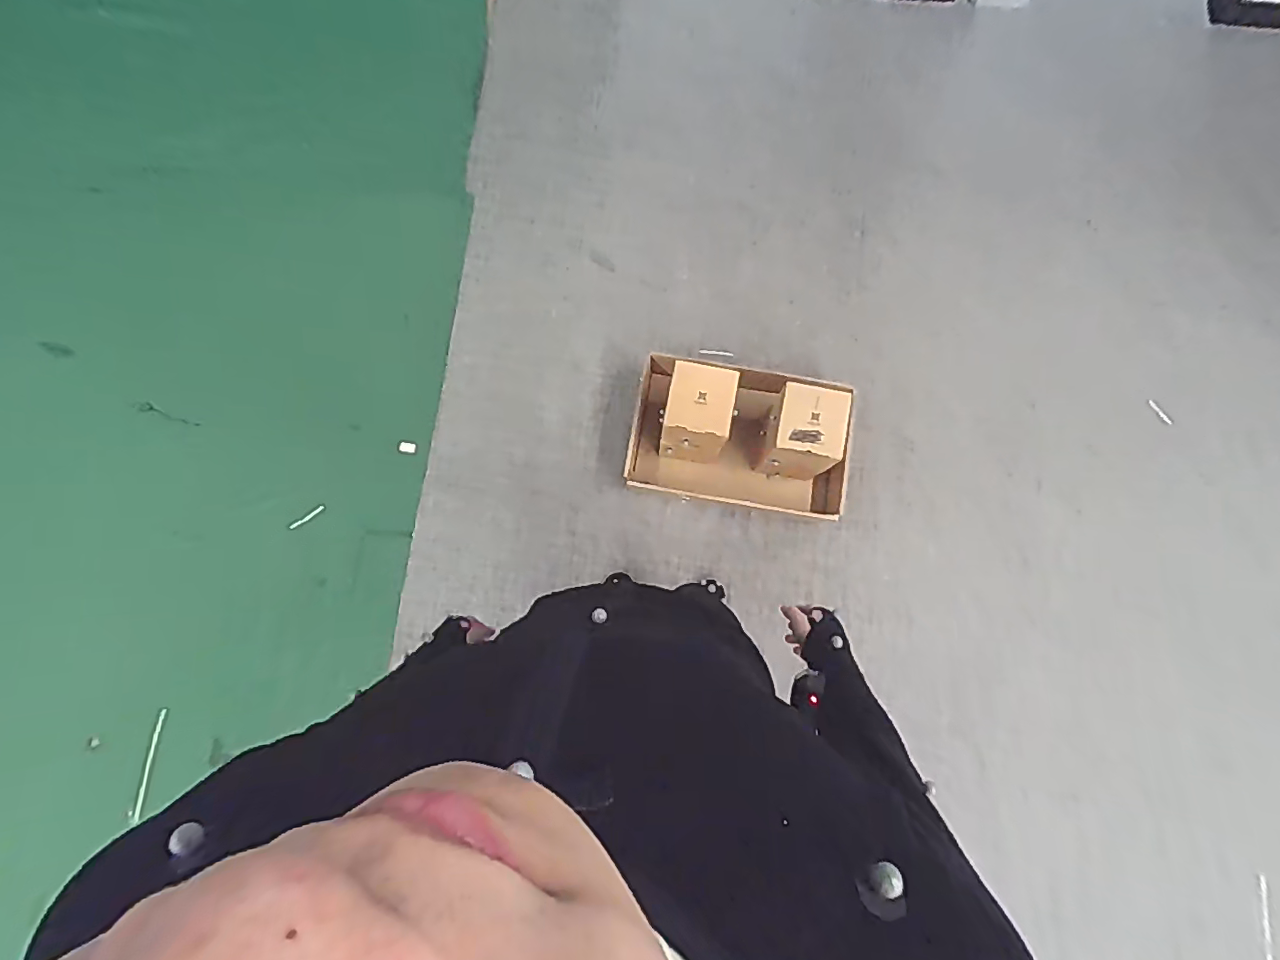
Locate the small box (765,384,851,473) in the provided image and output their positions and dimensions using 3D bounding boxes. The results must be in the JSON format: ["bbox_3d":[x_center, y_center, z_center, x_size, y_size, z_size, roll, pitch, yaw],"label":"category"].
[{"bbox_3d":[0.429,-0.125,1.405,0.168,0.176,0.179,12,79,4],"label":"small box"}]

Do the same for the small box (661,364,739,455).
[{"bbox_3d":[0.151,-0.179,1.418,0.168,0.176,0.179,11,80,1],"label":"small box"}]
